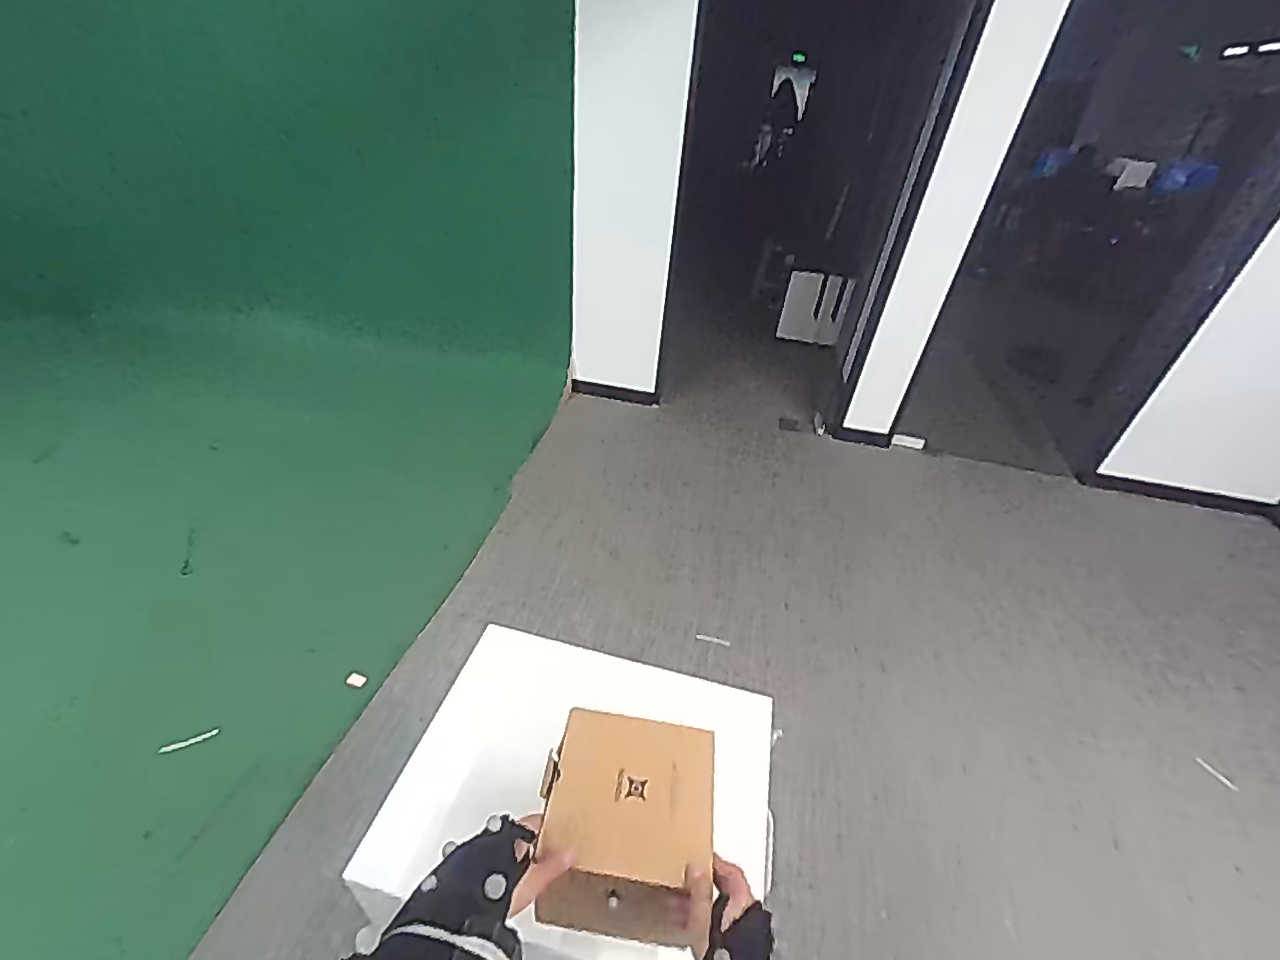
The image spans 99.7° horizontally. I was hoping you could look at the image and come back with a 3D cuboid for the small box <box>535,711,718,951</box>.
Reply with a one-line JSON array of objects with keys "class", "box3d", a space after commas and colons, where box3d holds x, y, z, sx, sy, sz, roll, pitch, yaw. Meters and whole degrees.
[{"class": "small box", "box3d": [-0.012, 0.398, 0.617, 0.179, 0.176, 0.168, 8, 34, 3]}]
